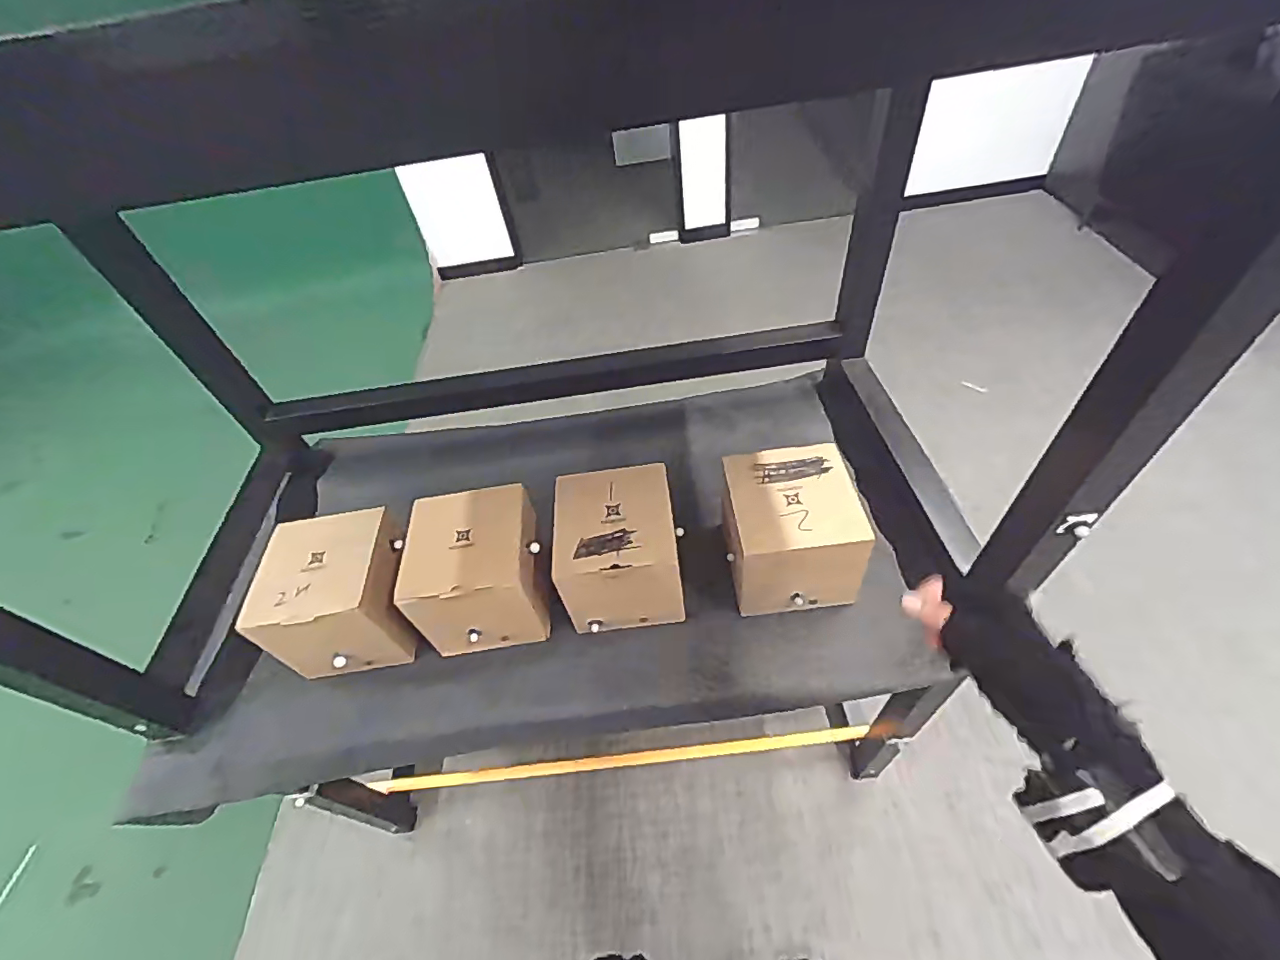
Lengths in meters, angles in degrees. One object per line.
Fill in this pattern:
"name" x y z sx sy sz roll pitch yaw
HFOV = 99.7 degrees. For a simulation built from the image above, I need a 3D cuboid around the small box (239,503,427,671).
"small box" -0.439 0.161 0.812 0.168 0.176 0.179 -9 48 0
